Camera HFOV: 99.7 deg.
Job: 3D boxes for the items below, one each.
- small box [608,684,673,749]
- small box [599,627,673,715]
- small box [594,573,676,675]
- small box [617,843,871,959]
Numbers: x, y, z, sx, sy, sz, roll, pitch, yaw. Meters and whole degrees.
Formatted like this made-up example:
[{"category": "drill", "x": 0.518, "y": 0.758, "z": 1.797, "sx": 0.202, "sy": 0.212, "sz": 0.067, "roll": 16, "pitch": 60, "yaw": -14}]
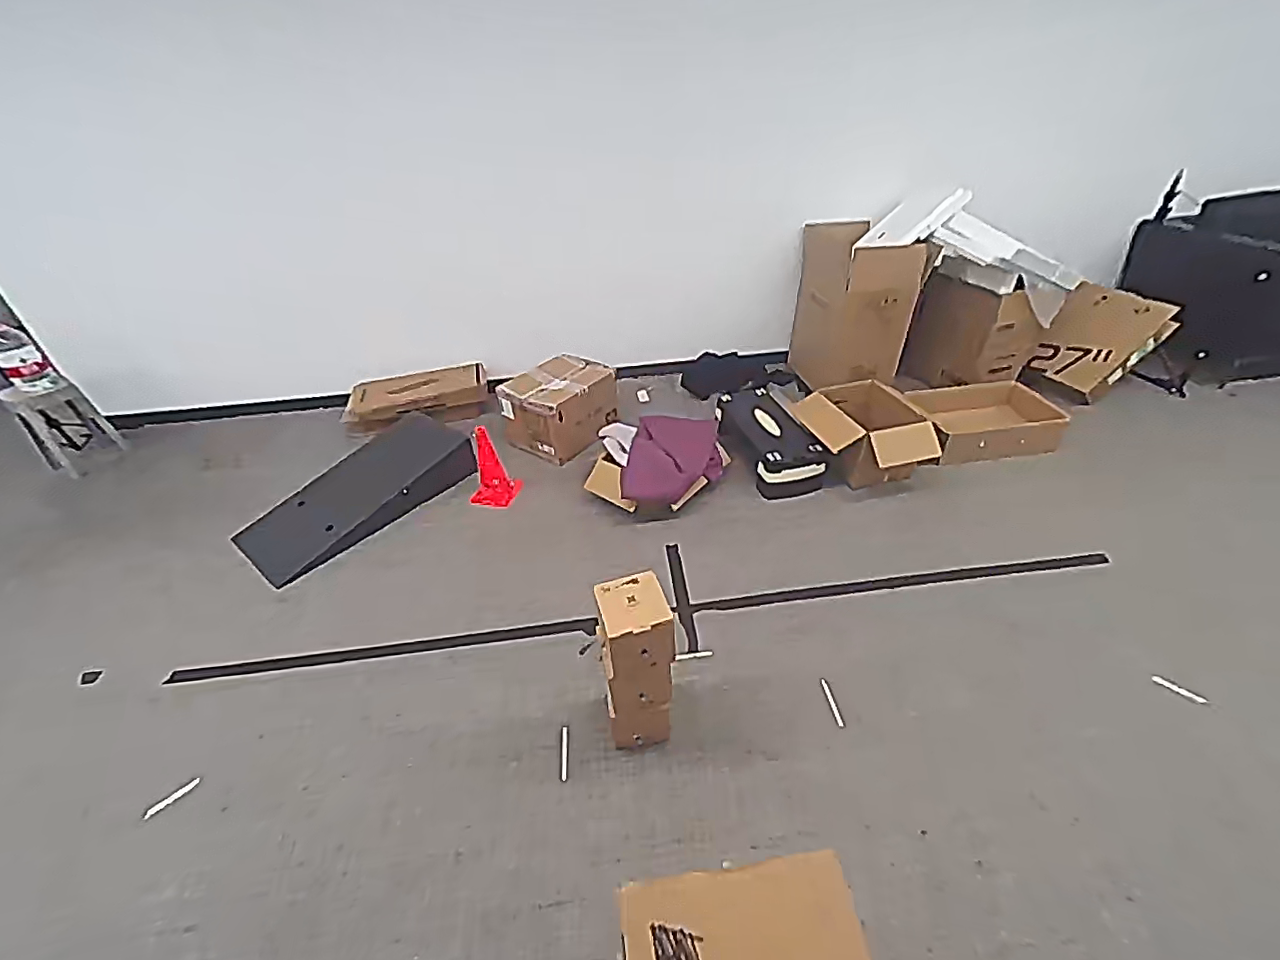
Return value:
[{"category": "small box", "x": -0.002, "y": 0.644, "z": 1.564, "sx": 0.168, "sy": 0.176, "sz": 0.179, "roll": -9, "pitch": 38, "yaw": -5}, {"category": "small box", "x": -0.011, "y": 0.503, "z": 1.477, "sx": 0.168, "sy": 0.176, "sz": 0.179, "roll": -12, "pitch": 37, "yaw": -8}, {"category": "small box", "x": -0.010, "y": 0.372, "z": 1.377, "sx": 0.168, "sy": 0.176, "sz": 0.179, "roll": -13, "pitch": 37, "yaw": -10}, {"category": "small box", "x": 0.081, "y": 0.411, "z": 0.421, "sx": 0.179, "sy": 0.176, "sz": 0.168, "roll": -6, "pitch": 44, "yaw": -4}]
